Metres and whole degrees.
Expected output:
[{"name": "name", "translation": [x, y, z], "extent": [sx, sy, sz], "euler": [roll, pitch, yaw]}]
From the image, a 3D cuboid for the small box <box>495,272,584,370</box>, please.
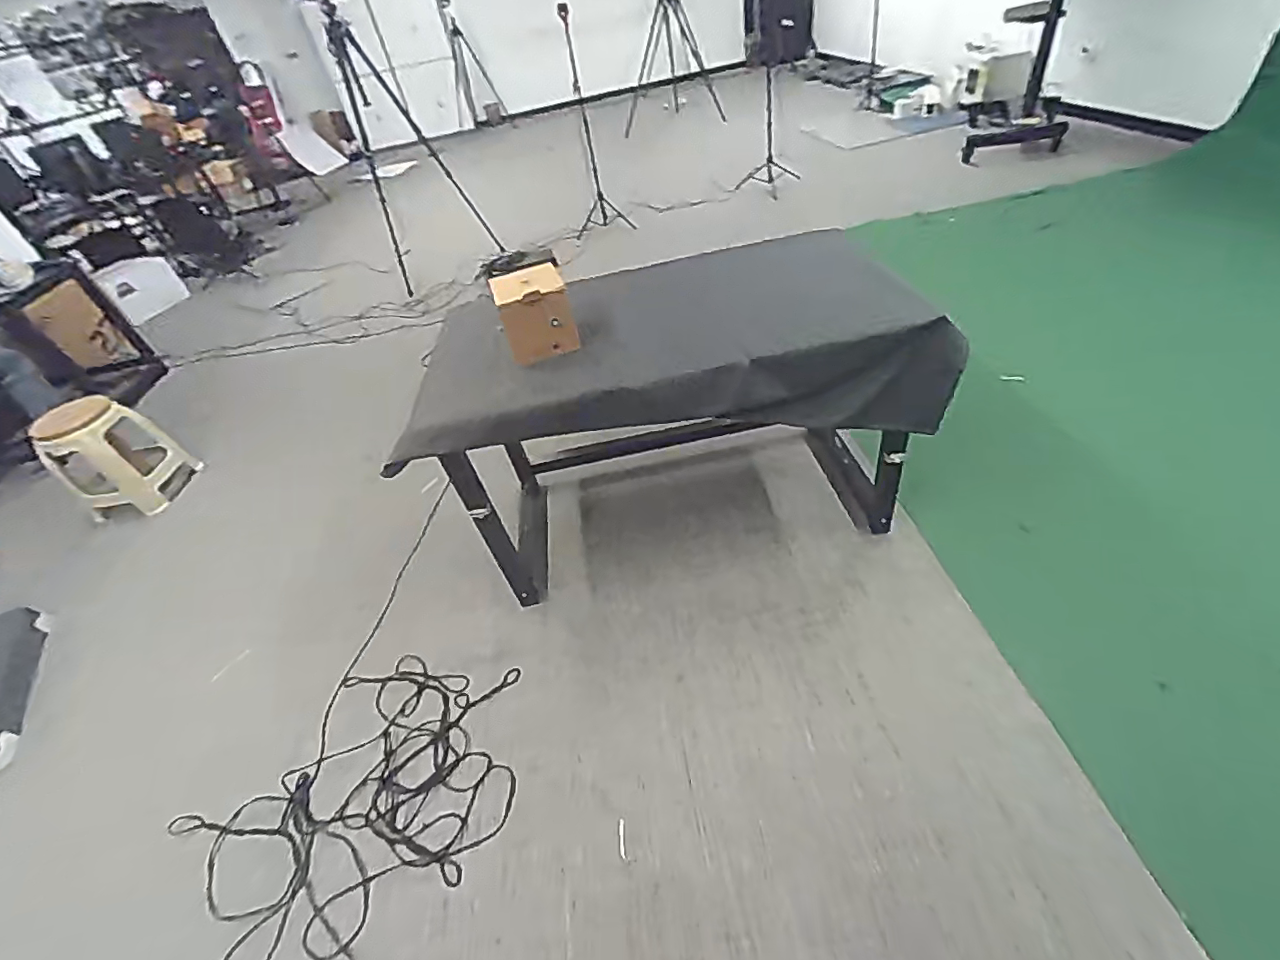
[{"name": "small box", "translation": [-0.249, -0.392, 1.353], "extent": [0.168, 0.176, 0.179], "euler": [-18, 41, -8]}]
